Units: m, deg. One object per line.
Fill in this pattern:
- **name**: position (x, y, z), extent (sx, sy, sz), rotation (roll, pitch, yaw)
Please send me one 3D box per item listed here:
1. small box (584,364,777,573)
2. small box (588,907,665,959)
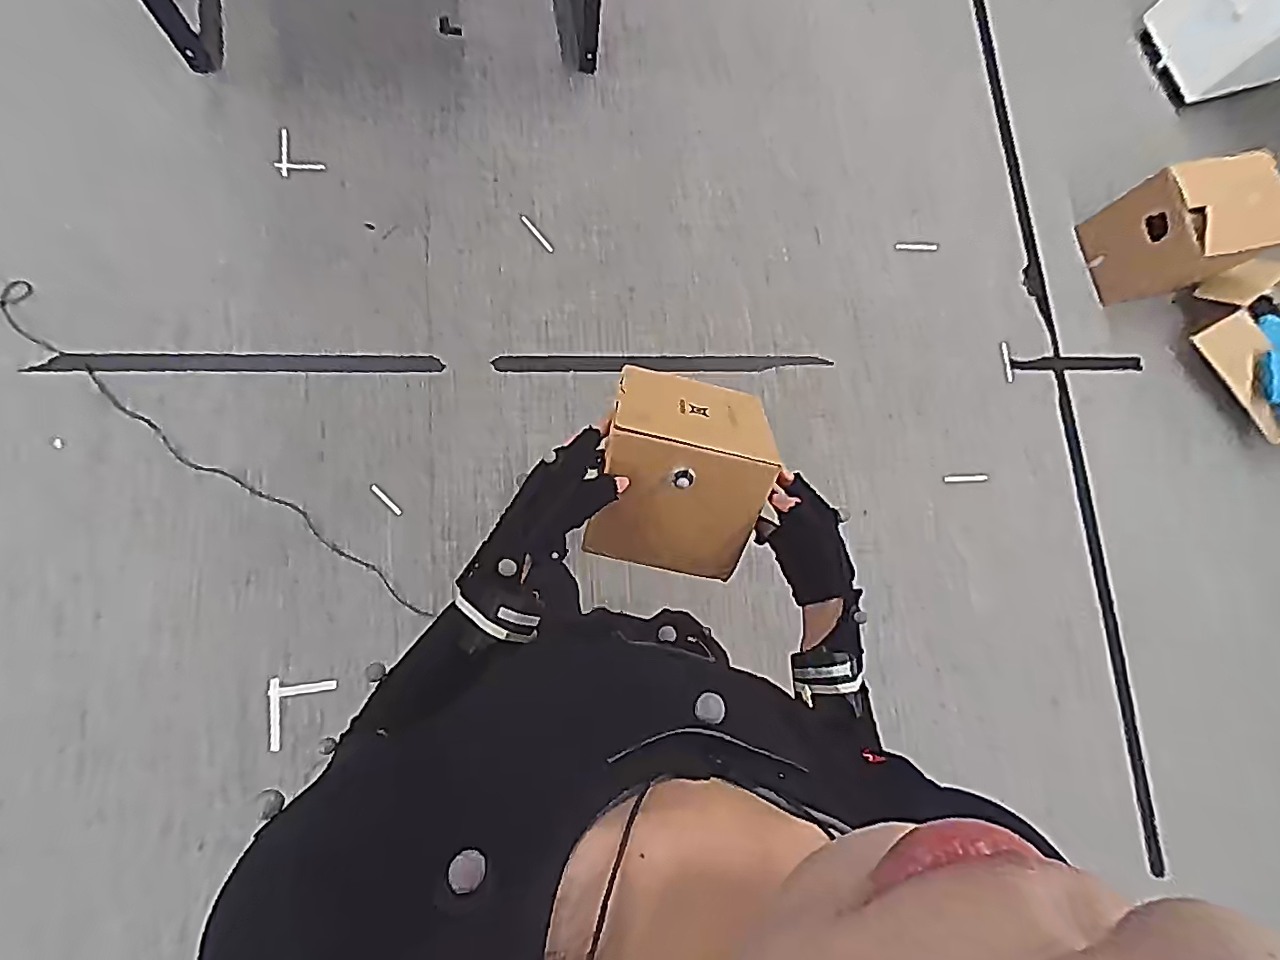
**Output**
- **small box**: position (0.039, -0.013, 0.637), extent (0.179, 0.168, 0.176), rotation (13, 123, -5)
- **small box**: position (-0.033, 1.175, 1.299), extent (0.179, 0.176, 0.168), rotation (-4, 81, -9)
